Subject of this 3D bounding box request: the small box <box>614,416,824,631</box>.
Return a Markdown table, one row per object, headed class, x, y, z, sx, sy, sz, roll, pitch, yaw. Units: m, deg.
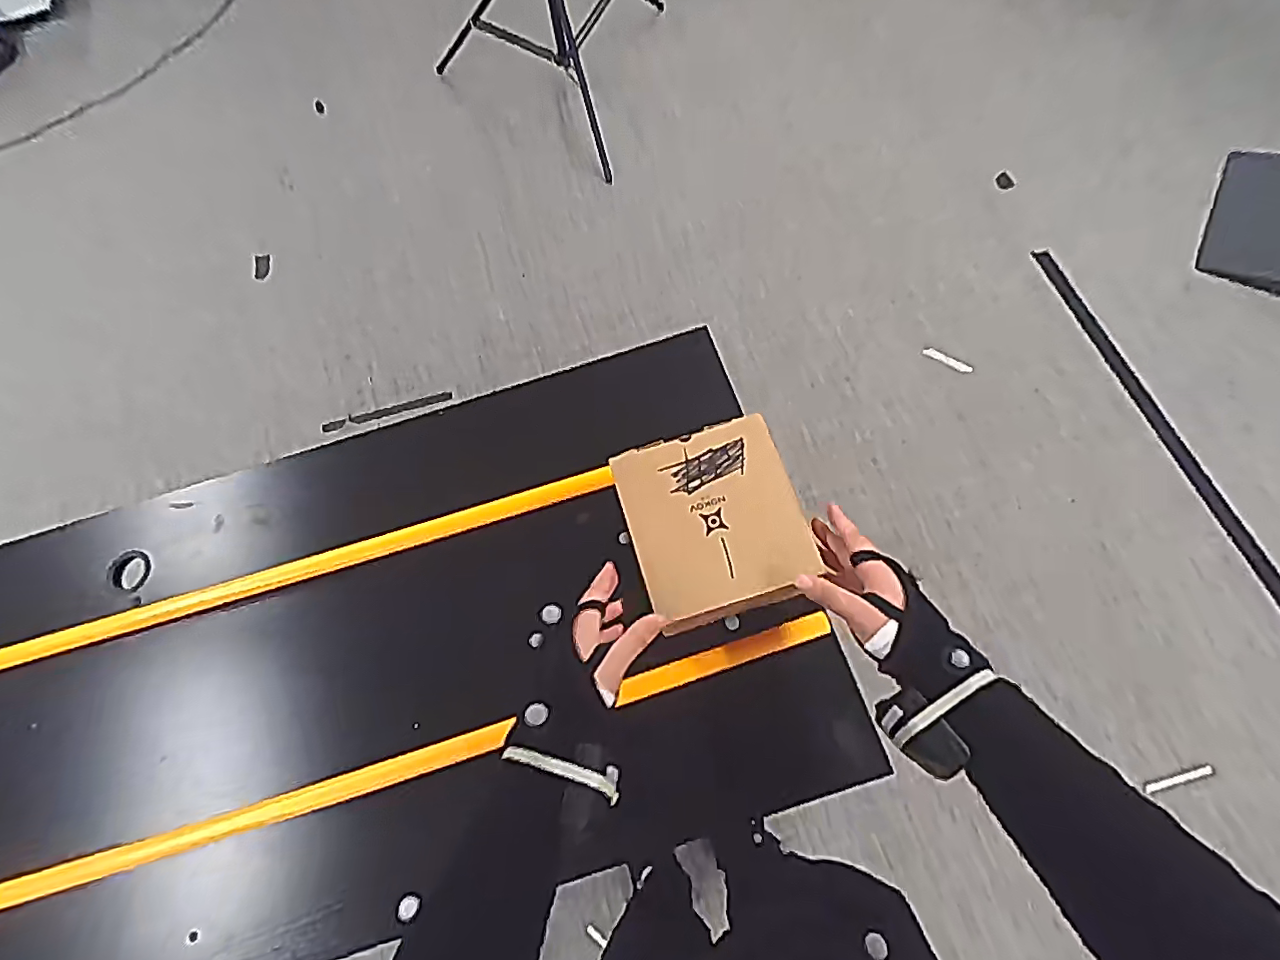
| class | x | y | z | sx | sy | sz | roll | pitch | yaw |
| --- | --- | --- | --- | --- | --- | --- | --- | --- | --- |
| small box | 0.078 | 0.058 | 0.604 | 0.168 | 0.176 | 0.179 | -17 | 71 | 0 |
